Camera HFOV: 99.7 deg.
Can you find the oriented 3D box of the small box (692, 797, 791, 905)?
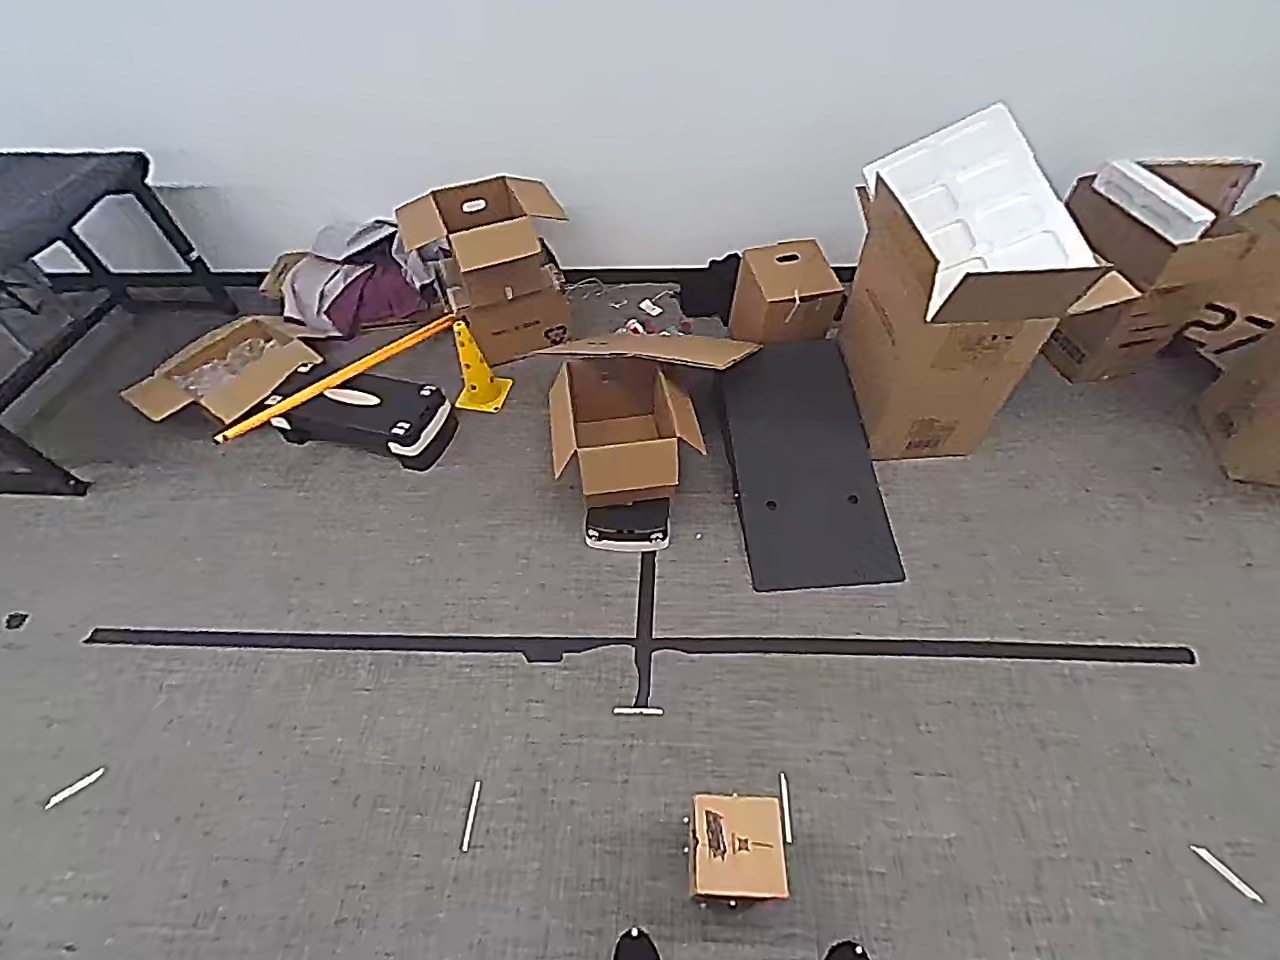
[{"bbox_3d":[0.198,0.762,1.108,0.179,0.176,0.168,2,52,2],"label":"small box"}]
